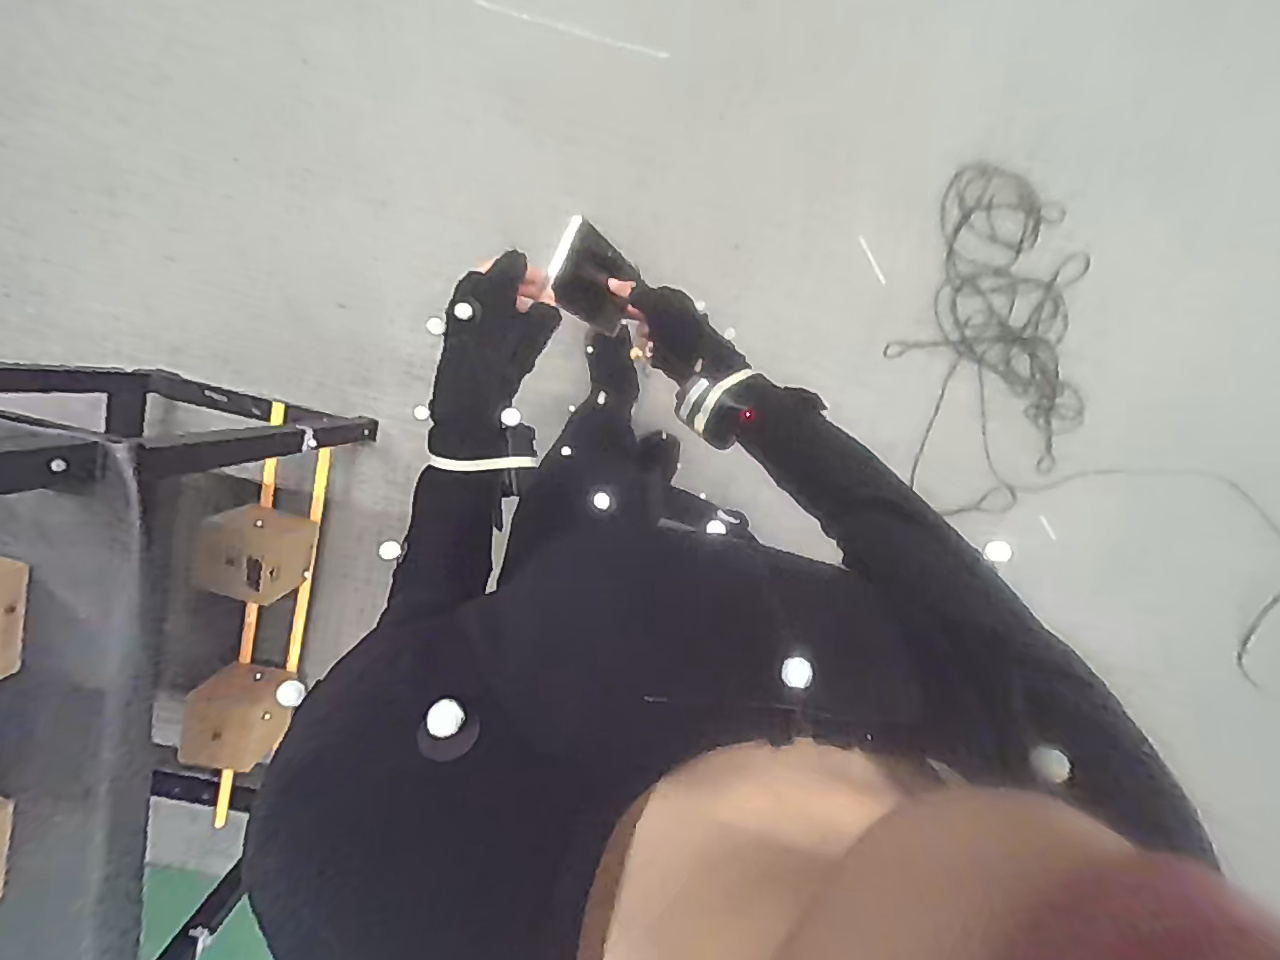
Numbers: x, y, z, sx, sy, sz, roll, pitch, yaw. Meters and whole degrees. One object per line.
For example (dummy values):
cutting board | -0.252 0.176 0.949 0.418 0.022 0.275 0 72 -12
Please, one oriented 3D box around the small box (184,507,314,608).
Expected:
small box | -0.909 0.173 1.273 0.179 0.176 0.168 17 98 -4
